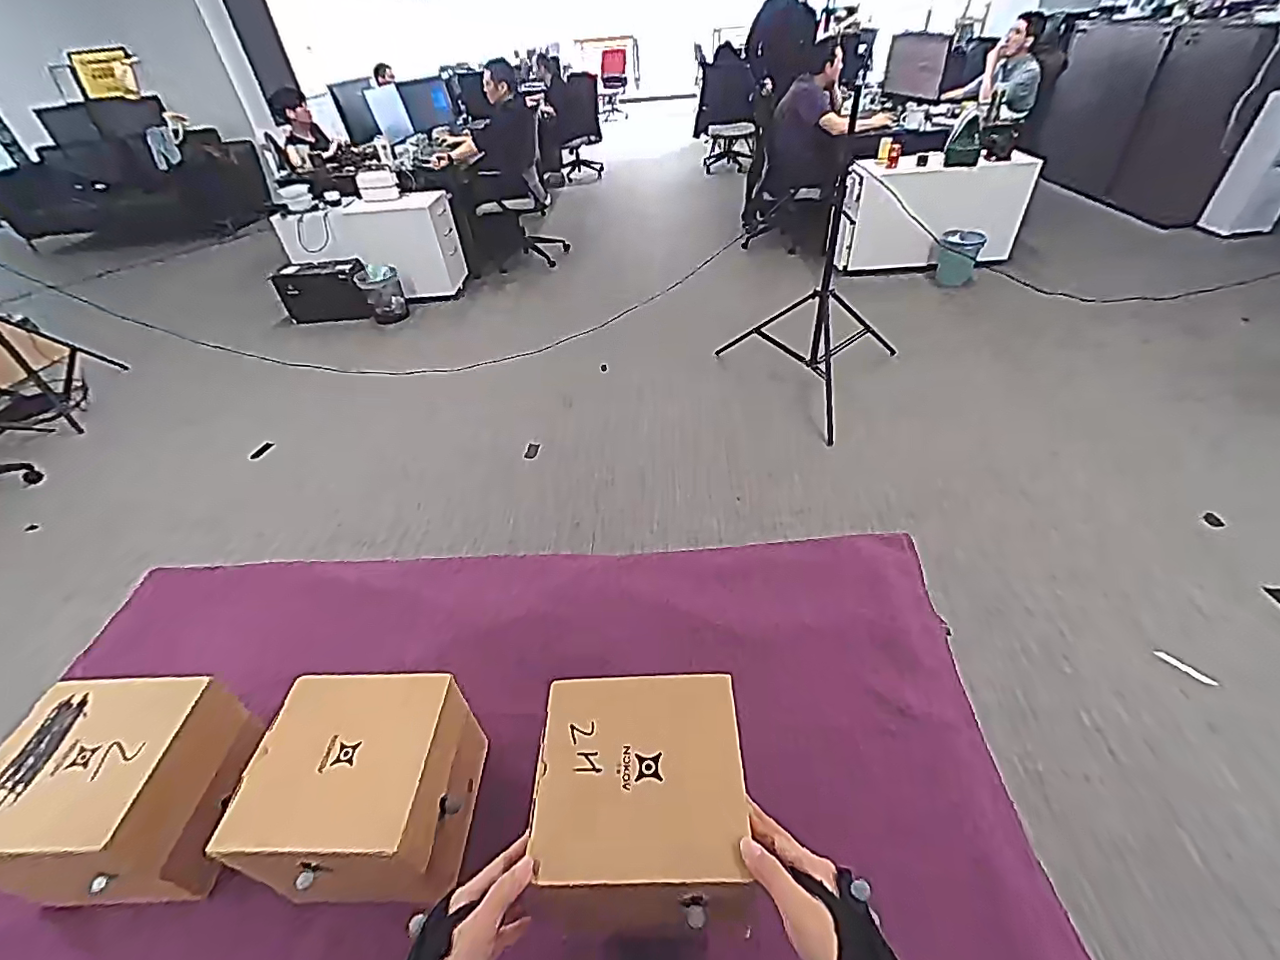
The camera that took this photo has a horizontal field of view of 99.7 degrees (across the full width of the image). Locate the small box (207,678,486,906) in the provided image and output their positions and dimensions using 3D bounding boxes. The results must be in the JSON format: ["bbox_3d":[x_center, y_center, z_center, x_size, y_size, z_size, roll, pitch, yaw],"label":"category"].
[{"bbox_3d":[-0.280,0.328,0.571,0.179,0.176,0.168,-3,40,4],"label":"small box"}]

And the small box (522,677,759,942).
[{"bbox_3d":[0.007,0.304,0.503,0.179,0.176,0.168,-4,38,4],"label":"small box"}]
